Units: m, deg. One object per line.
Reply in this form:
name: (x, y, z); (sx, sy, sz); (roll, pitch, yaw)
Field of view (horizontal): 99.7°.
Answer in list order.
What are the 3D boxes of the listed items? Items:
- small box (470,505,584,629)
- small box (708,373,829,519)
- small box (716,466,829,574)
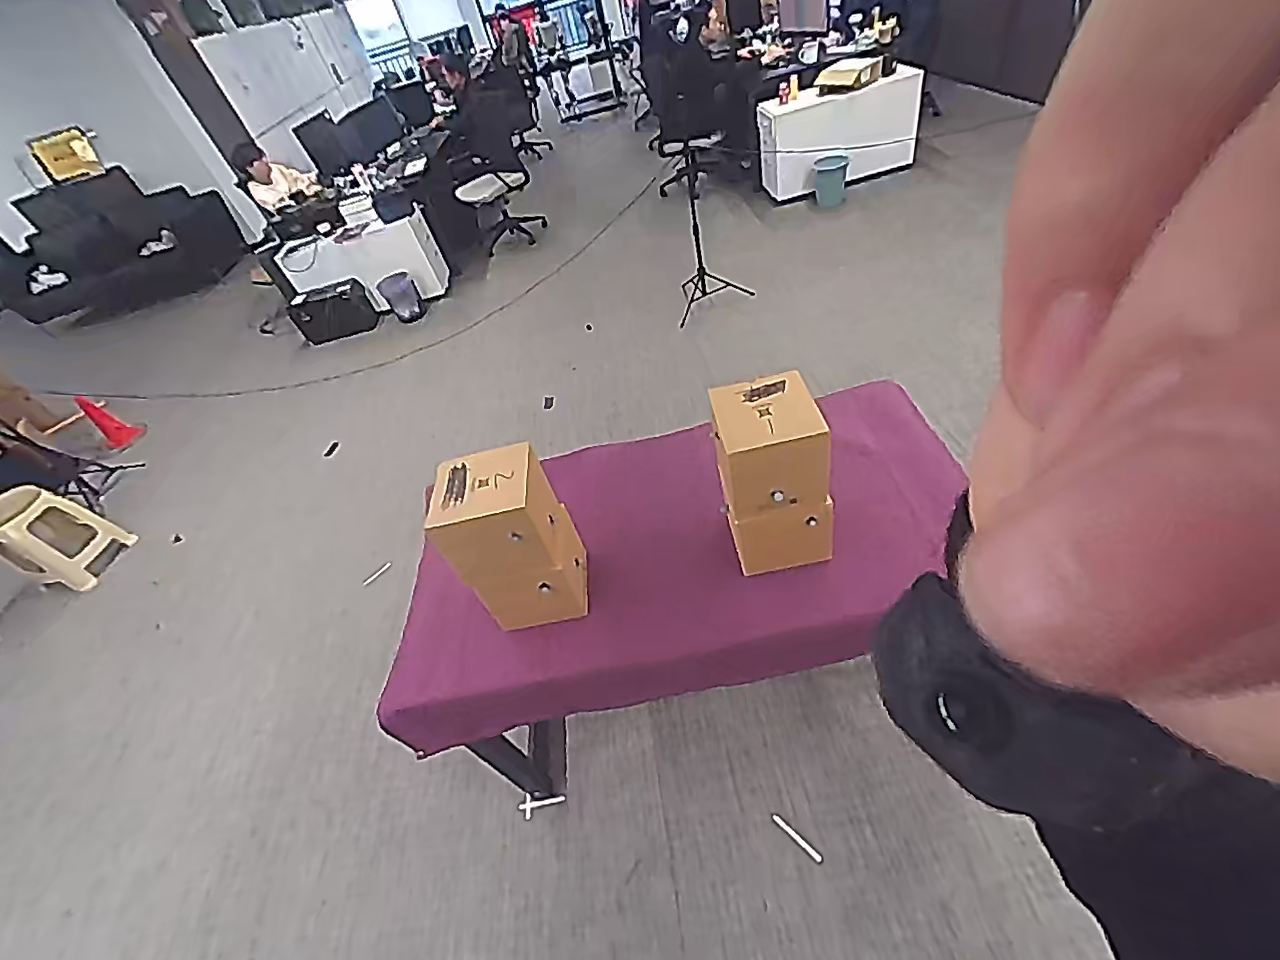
small box: (-0.215, 0.178, 1.087); (0.179, 0.176, 0.168); (-12, 44, 5)
small box: (0.221, -0.058, 0.953); (0.168, 0.176, 0.179); (-12, 44, 5)
small box: (0.259, 0.063, 1.058); (0.179, 0.176, 0.168); (-12, 44, 5)
